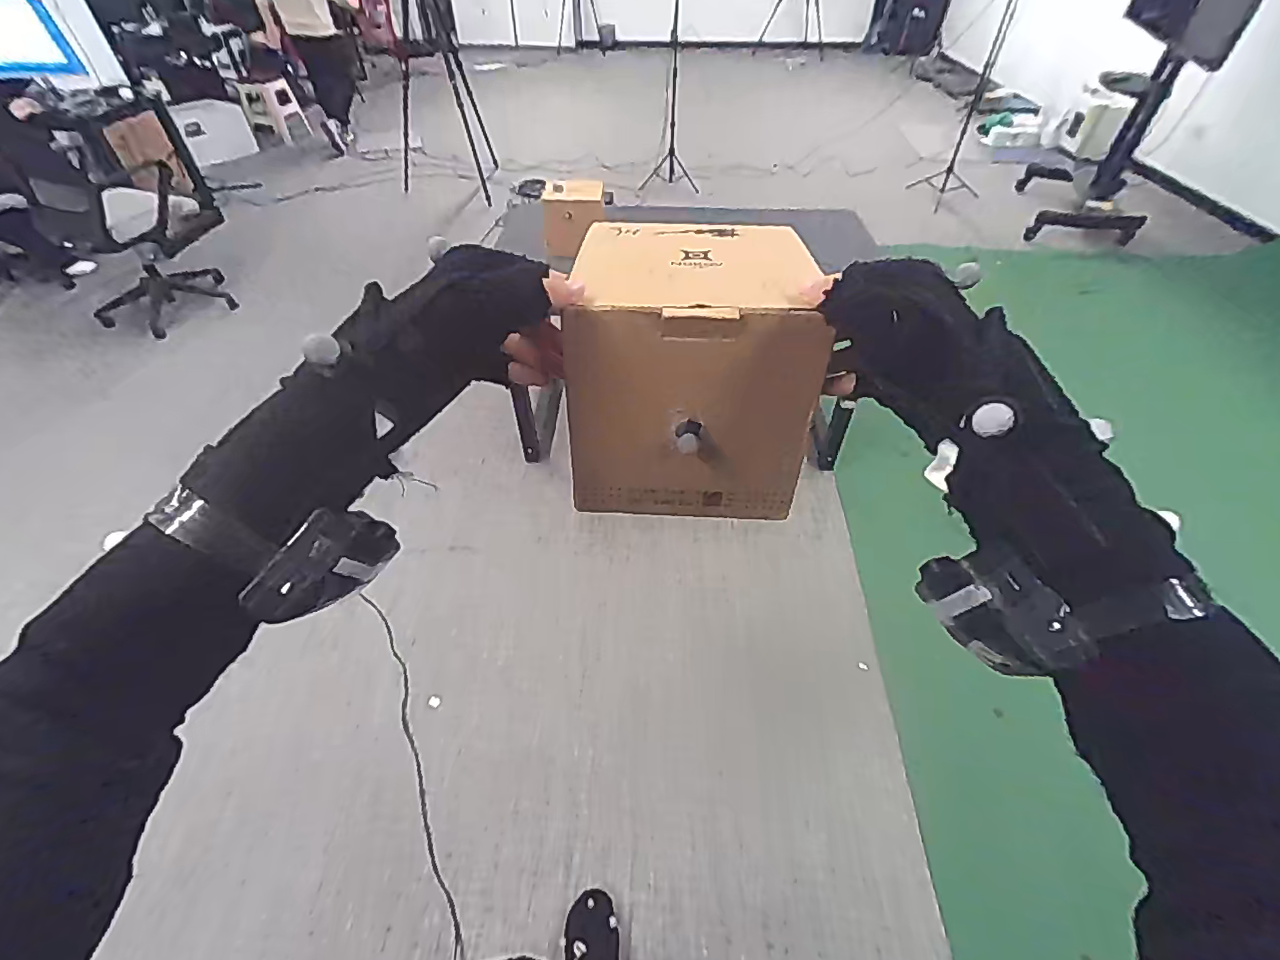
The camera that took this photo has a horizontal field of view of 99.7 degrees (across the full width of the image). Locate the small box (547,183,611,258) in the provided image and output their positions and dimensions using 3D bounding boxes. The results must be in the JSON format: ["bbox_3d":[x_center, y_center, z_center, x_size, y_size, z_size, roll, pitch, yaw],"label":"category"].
[{"bbox_3d":[-0.181,-0.798,1.668,0.179,0.176,0.168,1,46,0],"label":"small box"}]

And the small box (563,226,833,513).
[{"bbox_3d":[0.039,-0.090,0.435,0.168,0.176,0.179,3,41,2],"label":"small box"}]
